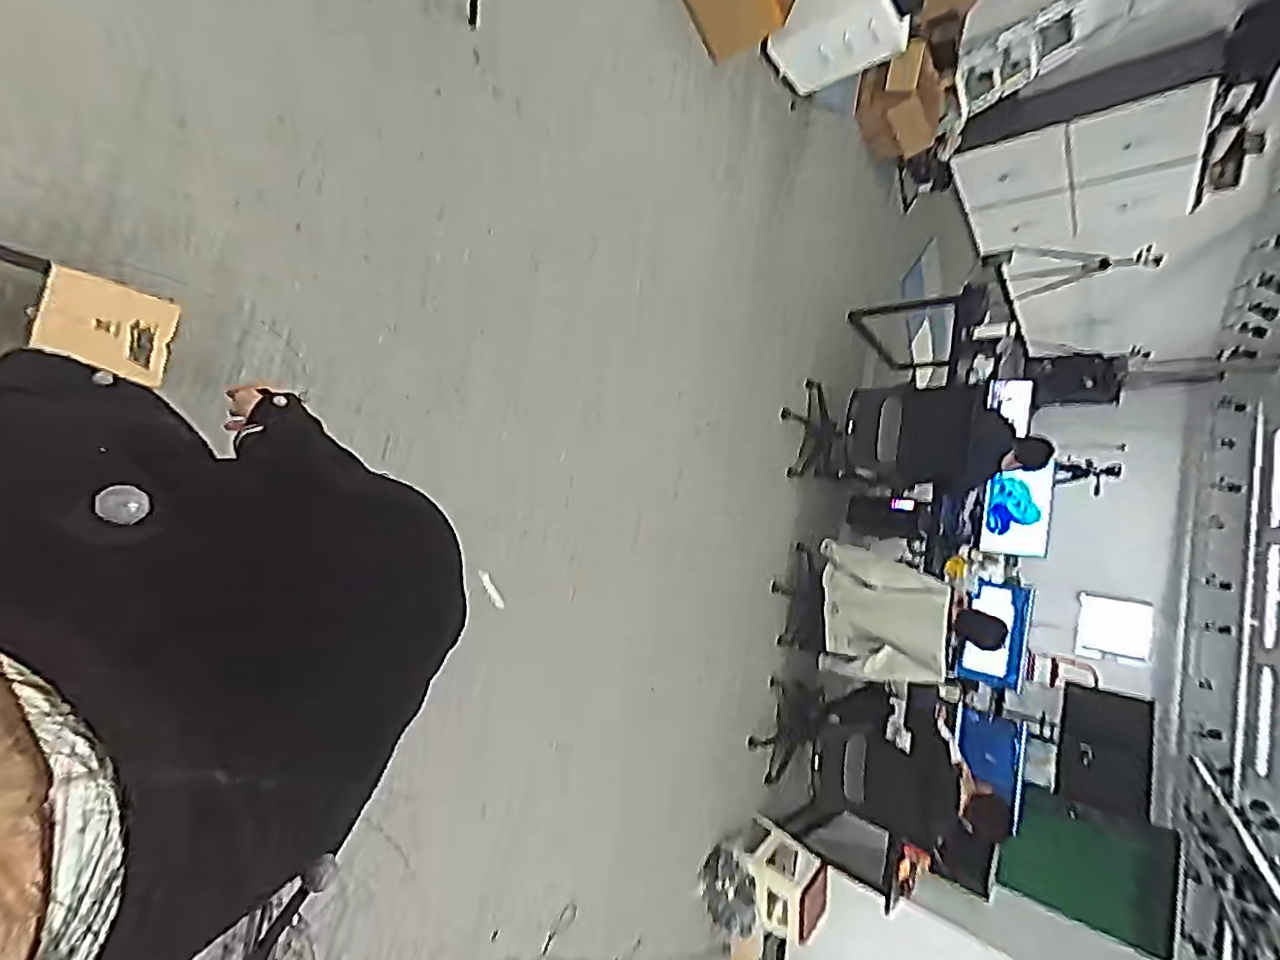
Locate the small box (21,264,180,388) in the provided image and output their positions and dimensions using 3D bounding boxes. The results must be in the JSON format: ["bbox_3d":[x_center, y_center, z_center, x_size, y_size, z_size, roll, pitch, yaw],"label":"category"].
[{"bbox_3d":[-1.017,-0.279,1.024,0.179,0.176,0.168,18,81,-47],"label":"small box"}]
